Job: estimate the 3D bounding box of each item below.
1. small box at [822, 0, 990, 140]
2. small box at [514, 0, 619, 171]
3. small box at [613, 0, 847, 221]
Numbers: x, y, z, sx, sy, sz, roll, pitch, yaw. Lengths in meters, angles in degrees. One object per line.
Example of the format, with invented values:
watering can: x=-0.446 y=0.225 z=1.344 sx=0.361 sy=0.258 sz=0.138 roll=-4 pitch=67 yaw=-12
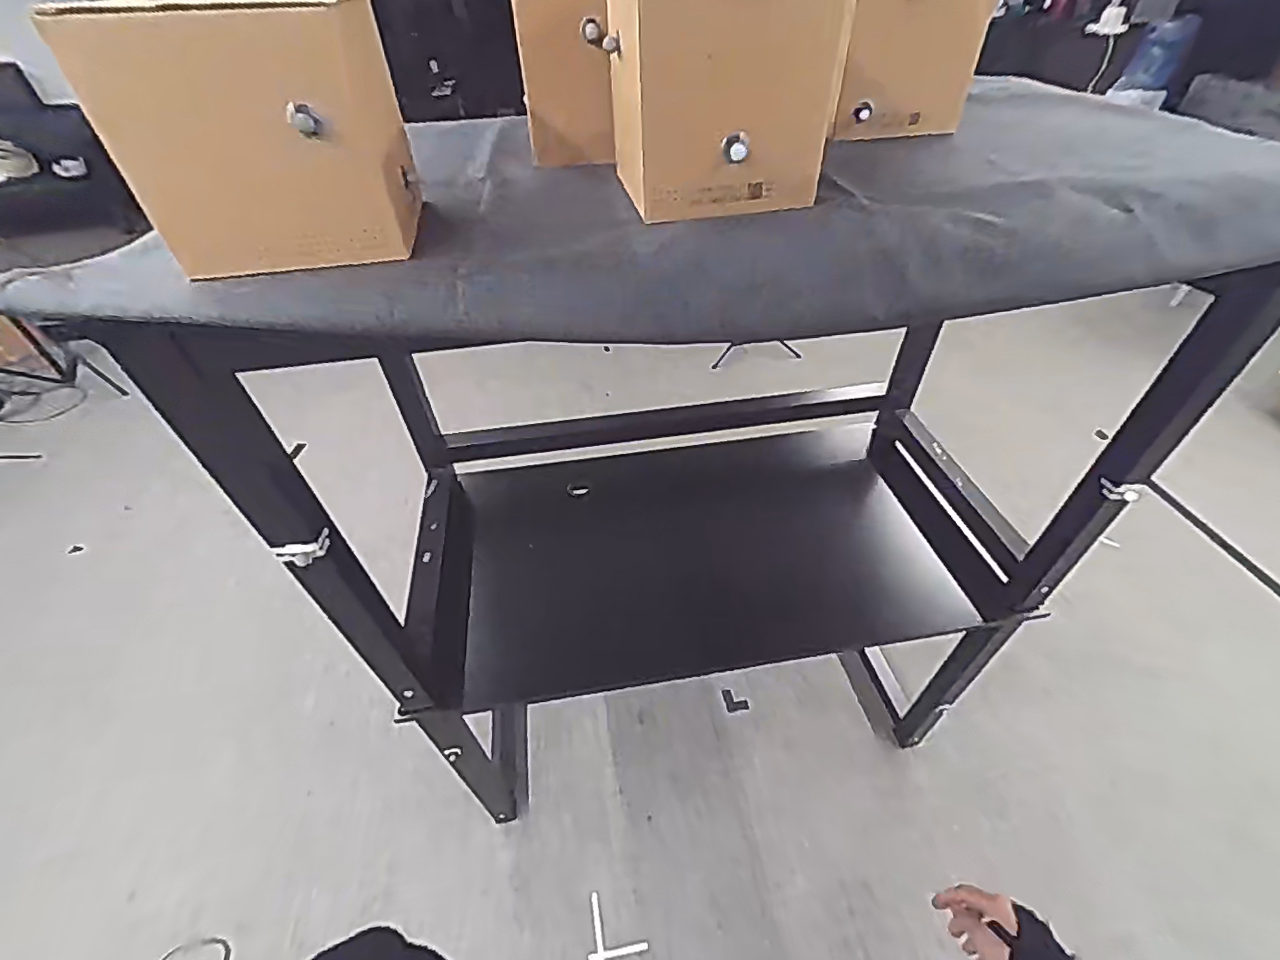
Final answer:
small box: x=0.315 y=-0.552 z=0.700 sx=0.168 sy=0.176 sz=0.179 roll=-5 pitch=44 yaw=-3
small box: x=-0.044 y=-0.492 z=0.656 sx=0.179 sy=0.176 sz=0.168 roll=-4 pitch=45 yaw=-1
small box: x=0.067 y=-0.362 z=0.513 sx=0.168 sy=0.176 sz=0.179 roll=-8 pitch=44 yaw=-6
